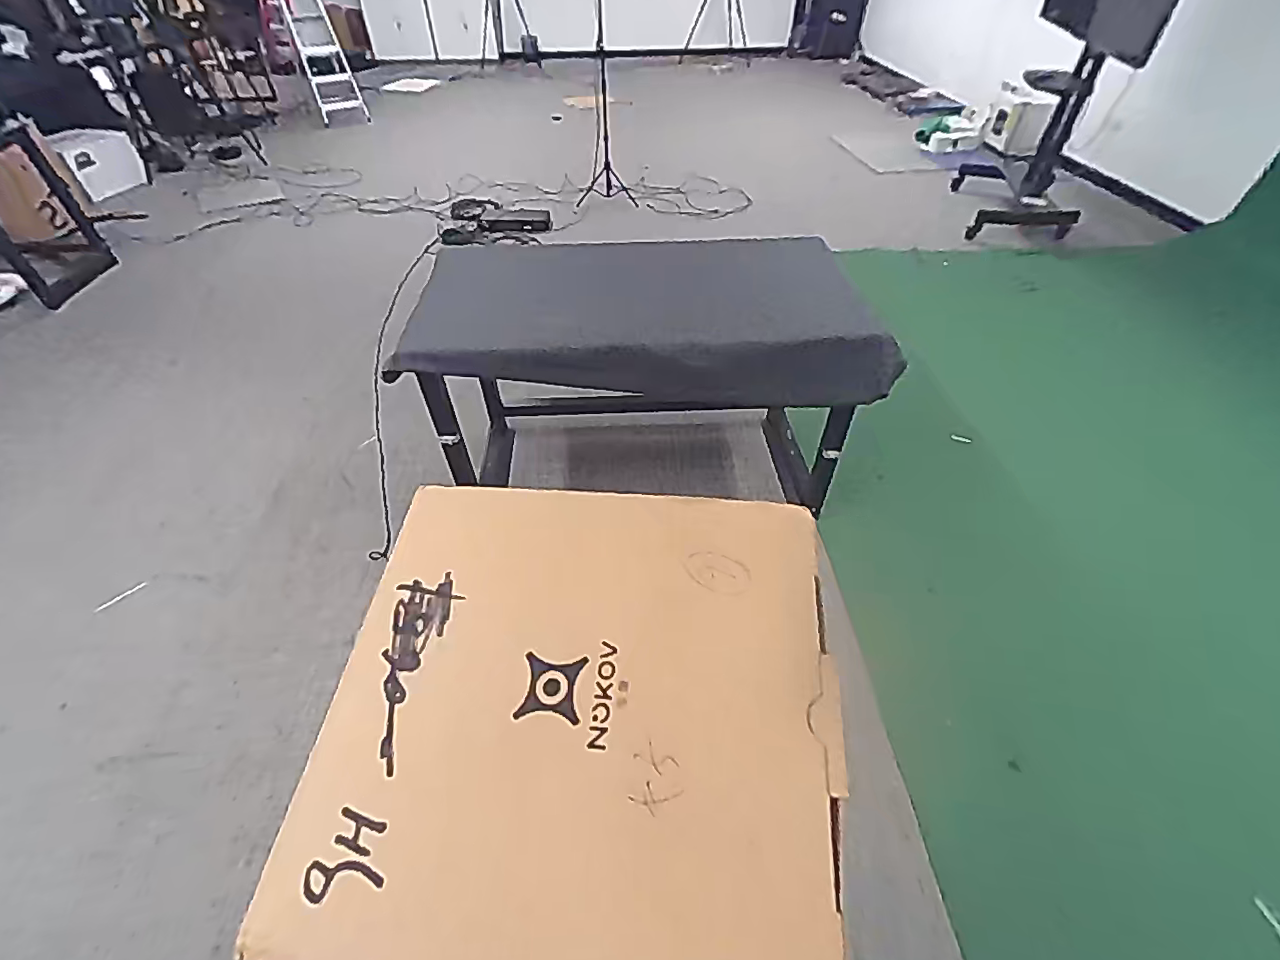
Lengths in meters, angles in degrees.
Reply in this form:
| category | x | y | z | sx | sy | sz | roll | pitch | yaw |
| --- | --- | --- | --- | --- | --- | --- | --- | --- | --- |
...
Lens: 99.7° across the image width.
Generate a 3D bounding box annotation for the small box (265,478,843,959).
| category | x | y | z | sx | sy | sz | roll | pitch | yaw |
| --- | --- | --- | --- | --- | --- | --- | --- | --- | --- |
| small box | -0.018 | 0.118 | 0.266 | 0.179 | 0.176 | 0.168 | 4 | 56 | 5 |
